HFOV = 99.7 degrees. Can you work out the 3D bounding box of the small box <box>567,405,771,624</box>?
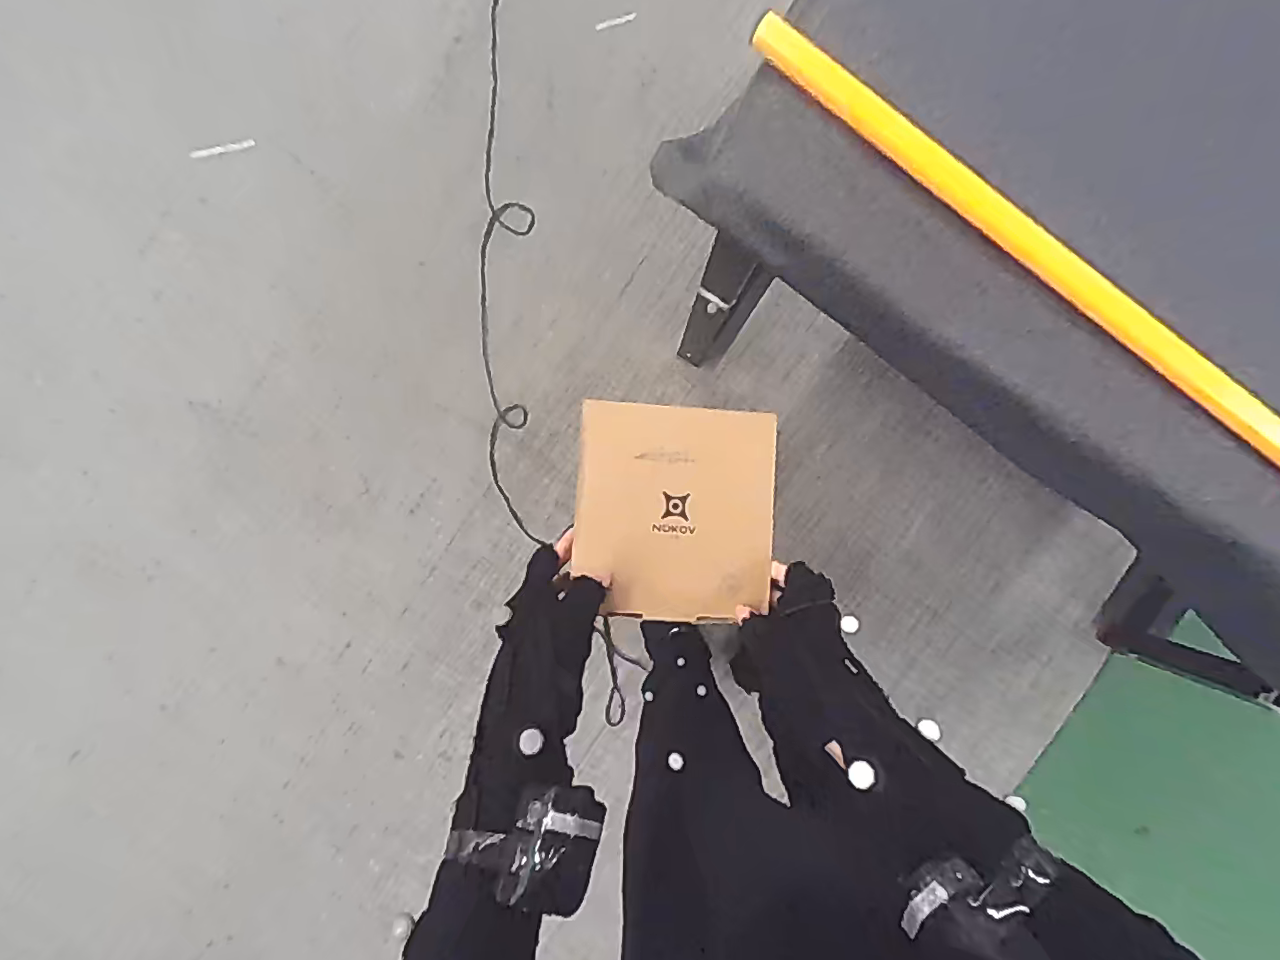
[{"bbox_3d":[0.020,0.037,0.531,0.168,0.176,0.179,4,83,-6],"label":"small box"}]
